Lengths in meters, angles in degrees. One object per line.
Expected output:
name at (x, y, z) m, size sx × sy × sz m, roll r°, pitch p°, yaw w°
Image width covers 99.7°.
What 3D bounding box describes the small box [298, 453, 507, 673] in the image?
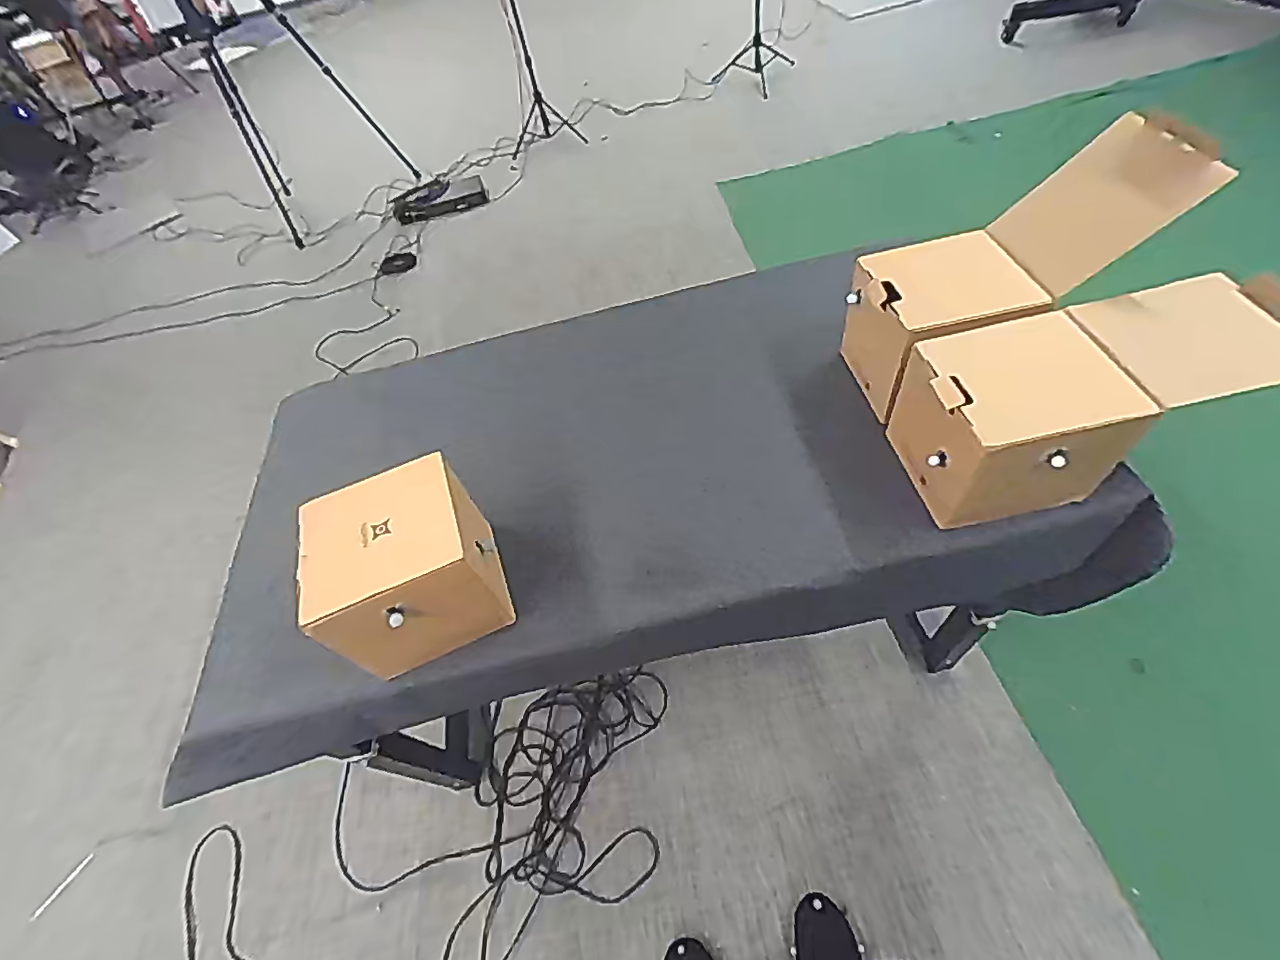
small box at (-0.275, 0.104, 0.653) m, size 0.179 × 0.176 × 0.168 m, roll -23°, pitch 52°, yaw -6°
